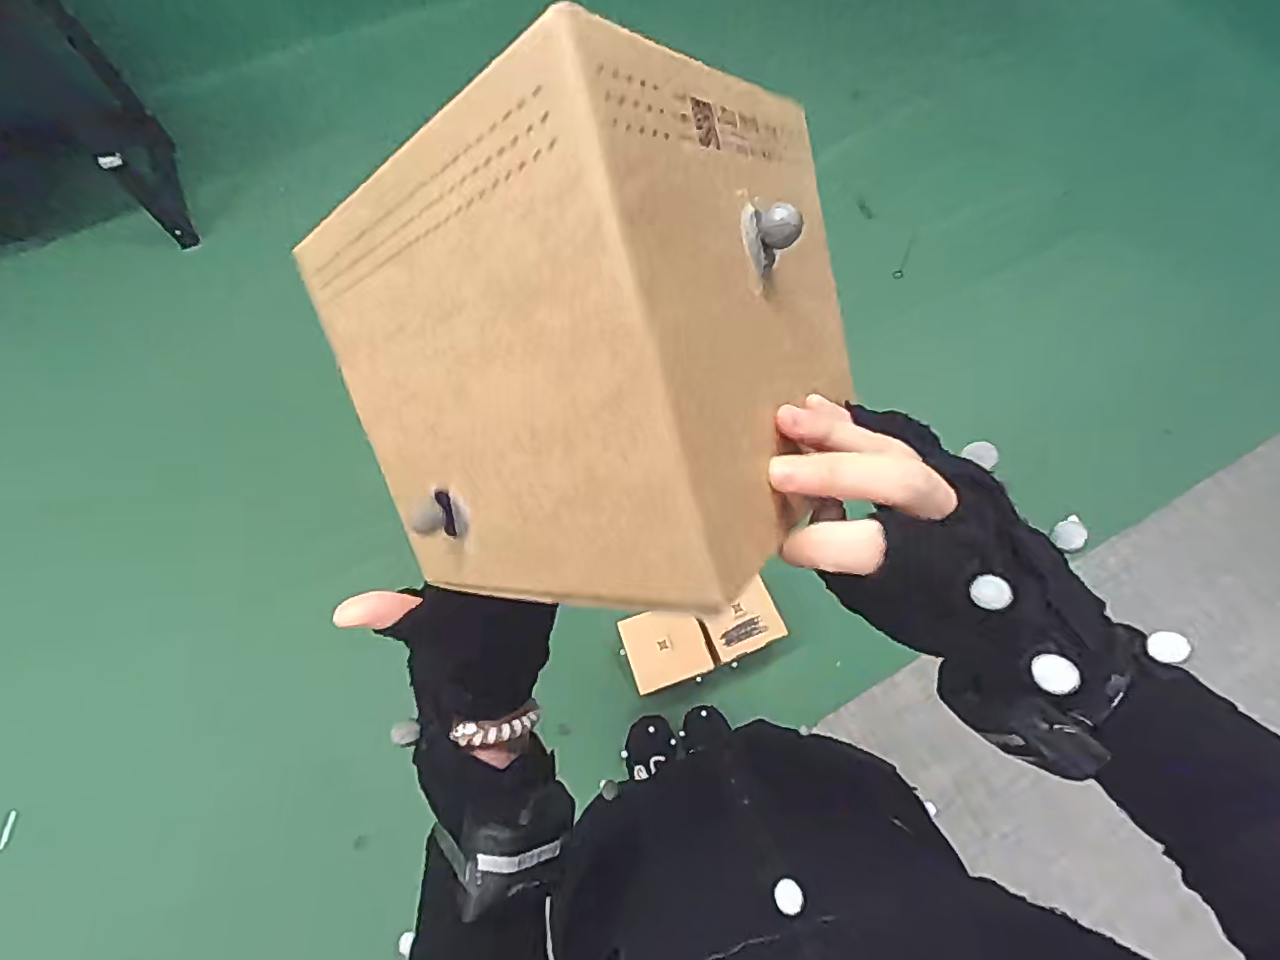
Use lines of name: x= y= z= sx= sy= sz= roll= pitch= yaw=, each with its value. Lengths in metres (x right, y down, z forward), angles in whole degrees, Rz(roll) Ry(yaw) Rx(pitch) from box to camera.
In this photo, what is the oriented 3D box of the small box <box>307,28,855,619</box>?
small box: x=-0.020 y=-0.059 z=0.257 sx=0.168 sy=0.179 sz=0.176 roll=-36 pitch=113 yaw=-46
